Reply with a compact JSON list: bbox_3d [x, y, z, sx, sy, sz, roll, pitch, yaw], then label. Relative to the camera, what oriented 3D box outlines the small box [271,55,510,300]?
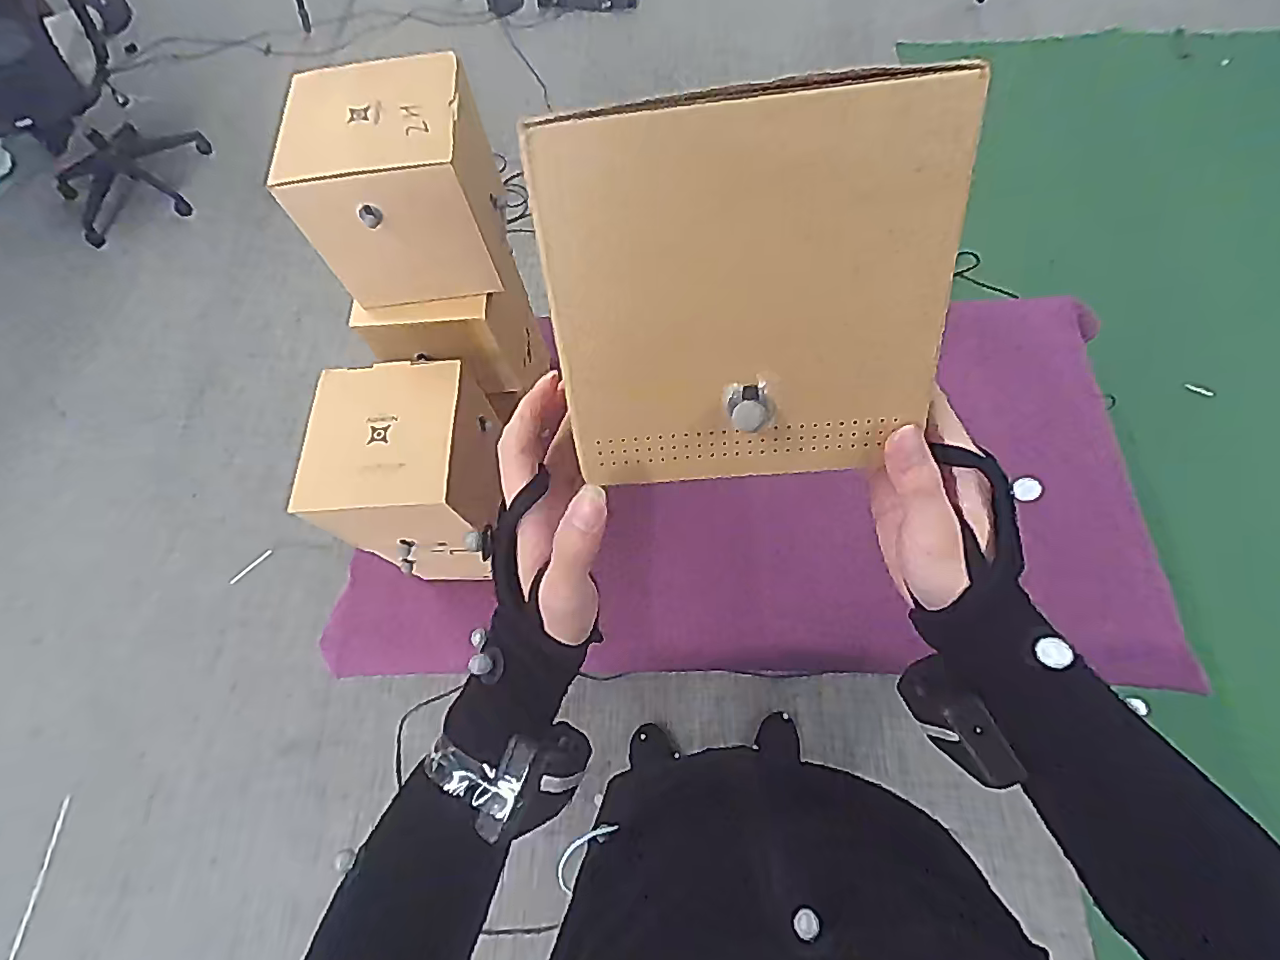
[{"bbox_3d":[-0.255,-0.320,0.598,0.179,0.176,0.168,-6,68,1],"label":"small box"}]

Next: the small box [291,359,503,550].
[{"bbox_3d":[-0.272,-0.024,0.653,0.168,0.176,0.179,-3,67,3],"label":"small box"}]

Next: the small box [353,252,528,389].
[{"bbox_3d":[-0.256,-0.234,0.740,0.168,0.176,0.179,-3,67,2],"label":"small box"}]

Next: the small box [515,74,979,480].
[{"bbox_3d":[0.050,-0.113,0.311,0.179,0.176,0.168,-4,32,6],"label":"small box"}]
